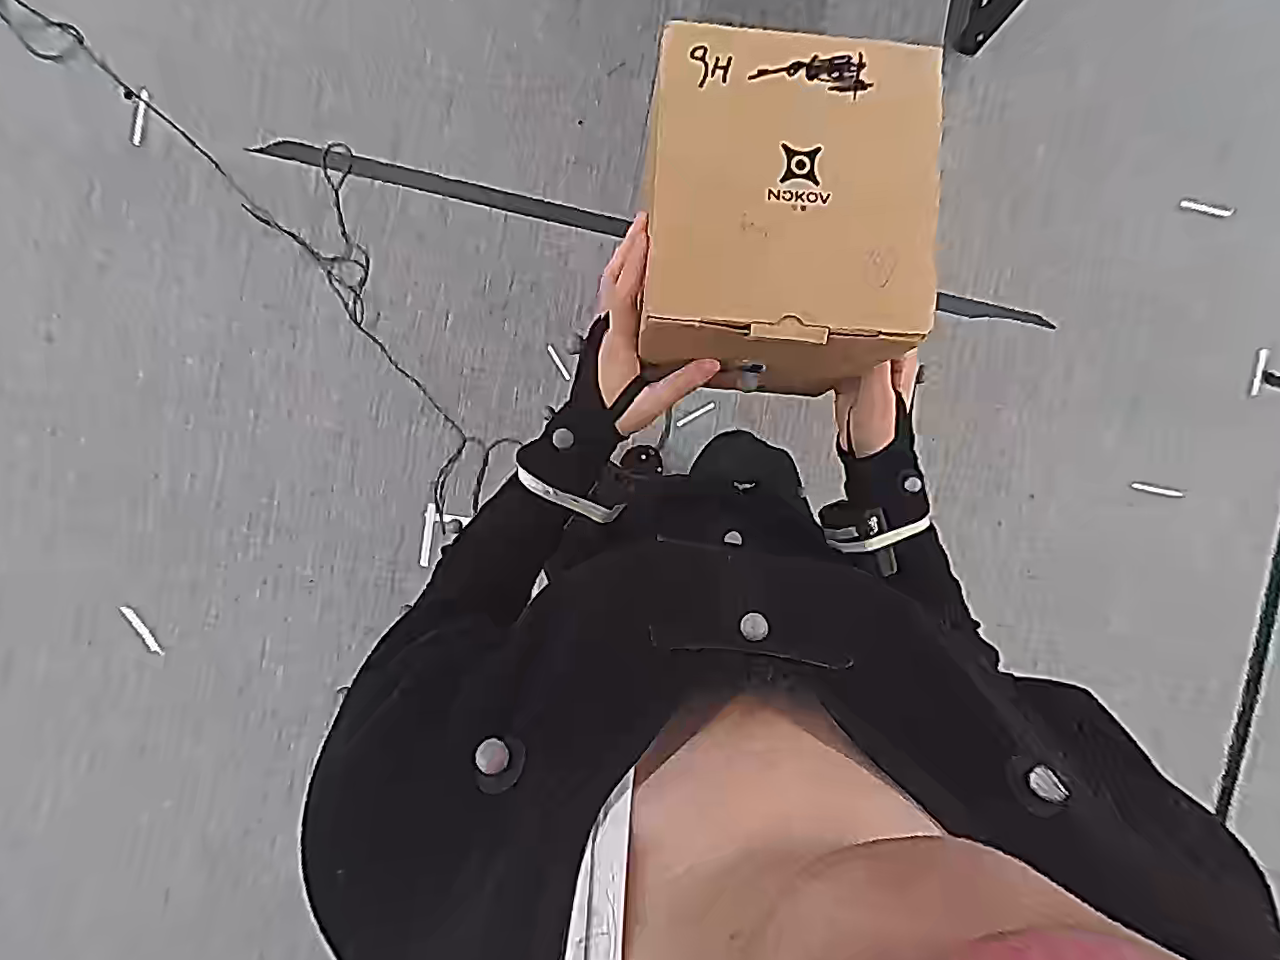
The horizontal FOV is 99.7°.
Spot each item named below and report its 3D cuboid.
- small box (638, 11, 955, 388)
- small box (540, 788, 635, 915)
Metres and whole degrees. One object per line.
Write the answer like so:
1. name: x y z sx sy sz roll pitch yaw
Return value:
1. small box: 0.087 -0.168 0.382 0.168 0.176 0.179 4 88 -3
2. small box: -0.120 0.850 1.255 0.179 0.176 0.168 14 92 -5
